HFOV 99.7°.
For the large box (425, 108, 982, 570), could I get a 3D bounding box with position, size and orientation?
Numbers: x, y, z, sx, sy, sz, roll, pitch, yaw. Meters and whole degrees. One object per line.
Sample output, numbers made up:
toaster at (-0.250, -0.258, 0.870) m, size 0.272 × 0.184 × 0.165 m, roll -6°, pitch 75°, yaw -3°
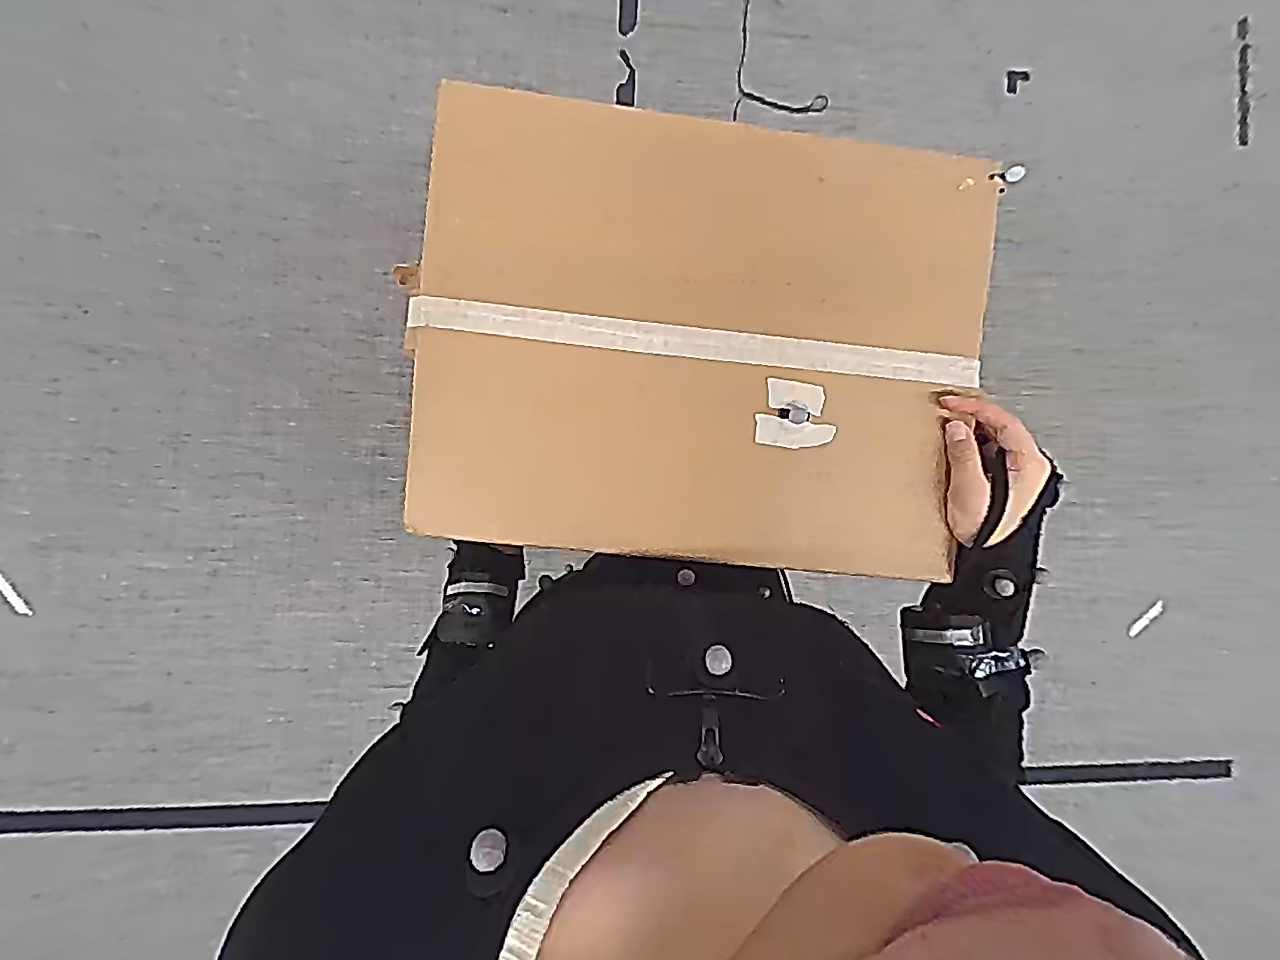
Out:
large box at (0.039, -0.101, 0.545) m, size 0.408 × 0.320 × 0.320 m, roll 5°, pitch 93°, yaw -5°
